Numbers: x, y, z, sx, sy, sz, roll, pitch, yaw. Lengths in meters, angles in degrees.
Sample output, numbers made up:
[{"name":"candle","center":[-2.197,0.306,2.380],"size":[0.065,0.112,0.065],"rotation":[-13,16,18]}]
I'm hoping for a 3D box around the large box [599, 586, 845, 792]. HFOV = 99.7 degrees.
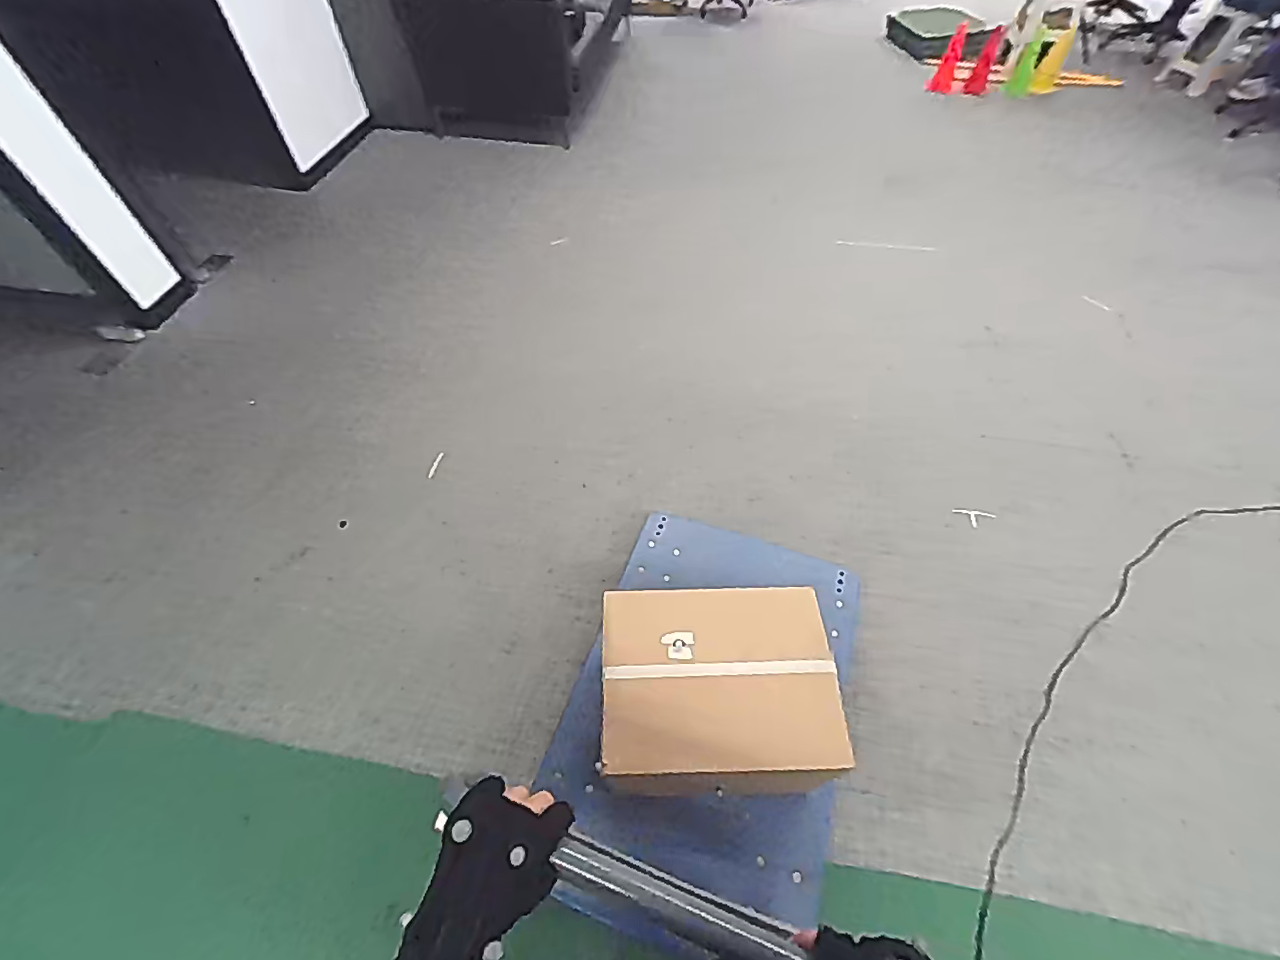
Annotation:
[{"name":"large box","center":[0.132,0.423,1.072],"size":[0.408,0.320,0.320],"rotation":[-2,54,0]}]
